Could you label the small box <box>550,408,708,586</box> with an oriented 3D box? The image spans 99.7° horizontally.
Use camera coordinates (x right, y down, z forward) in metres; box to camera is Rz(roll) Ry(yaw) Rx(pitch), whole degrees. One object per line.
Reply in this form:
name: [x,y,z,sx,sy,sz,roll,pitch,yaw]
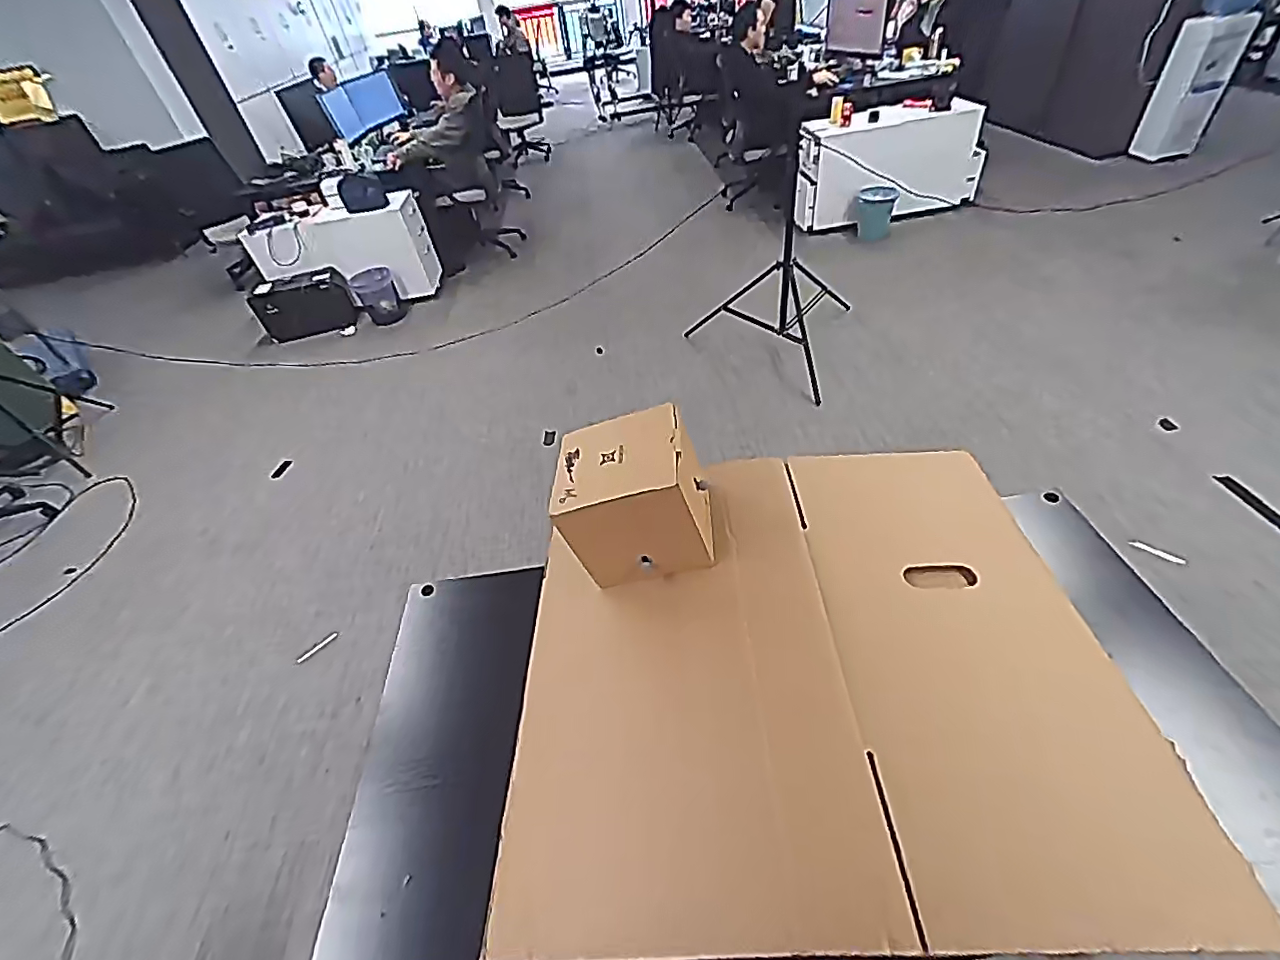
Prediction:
small box: [-0.004,0.029,0.775,0.179,0.176,0.168,-14,41,14]
